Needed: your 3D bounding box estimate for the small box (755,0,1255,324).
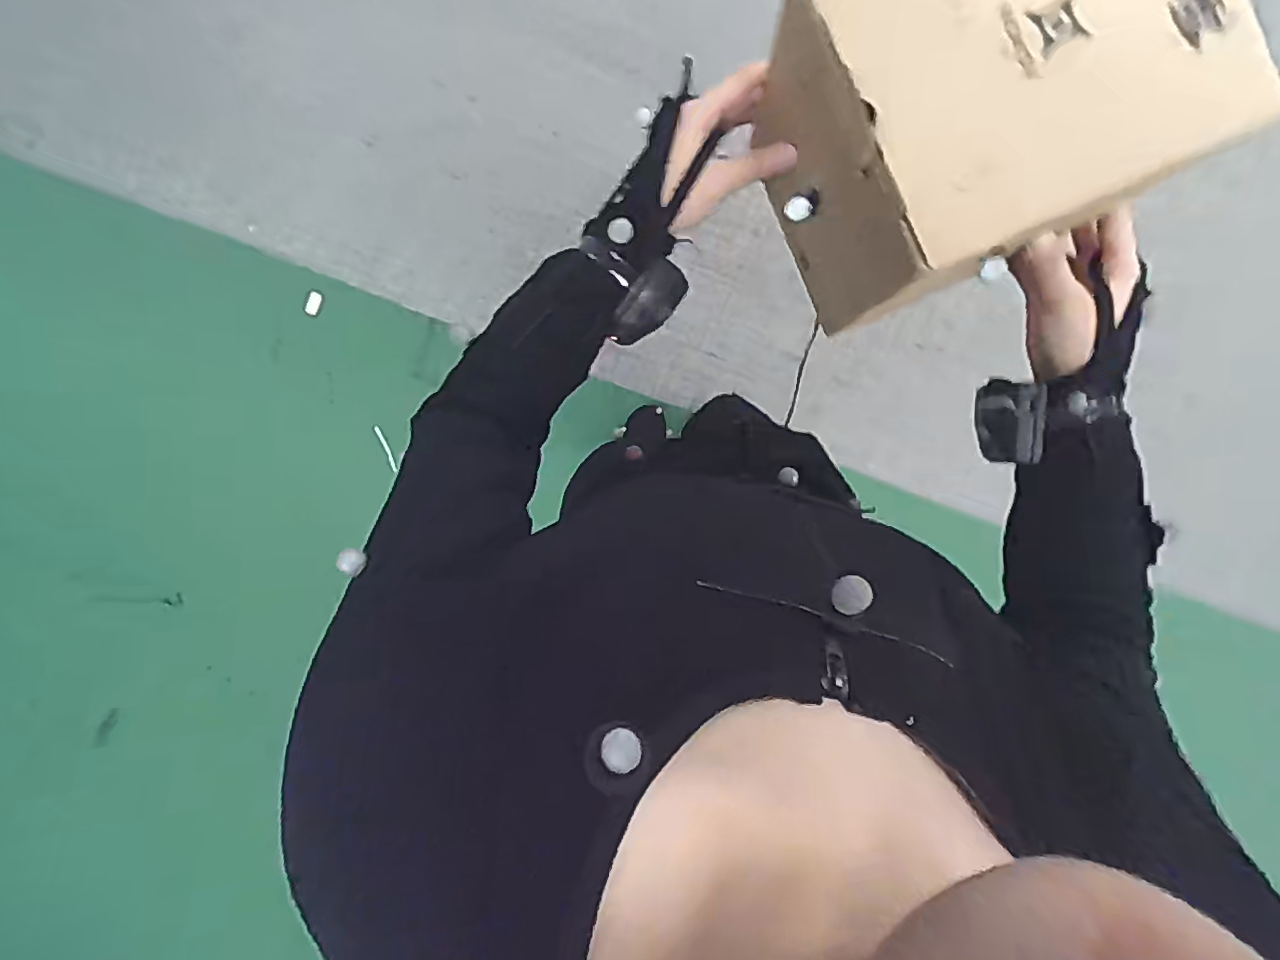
[{"bbox_3d":[0.182,-0.218,0.337,0.179,0.176,0.168,-24,92,6],"label":"small box"}]
